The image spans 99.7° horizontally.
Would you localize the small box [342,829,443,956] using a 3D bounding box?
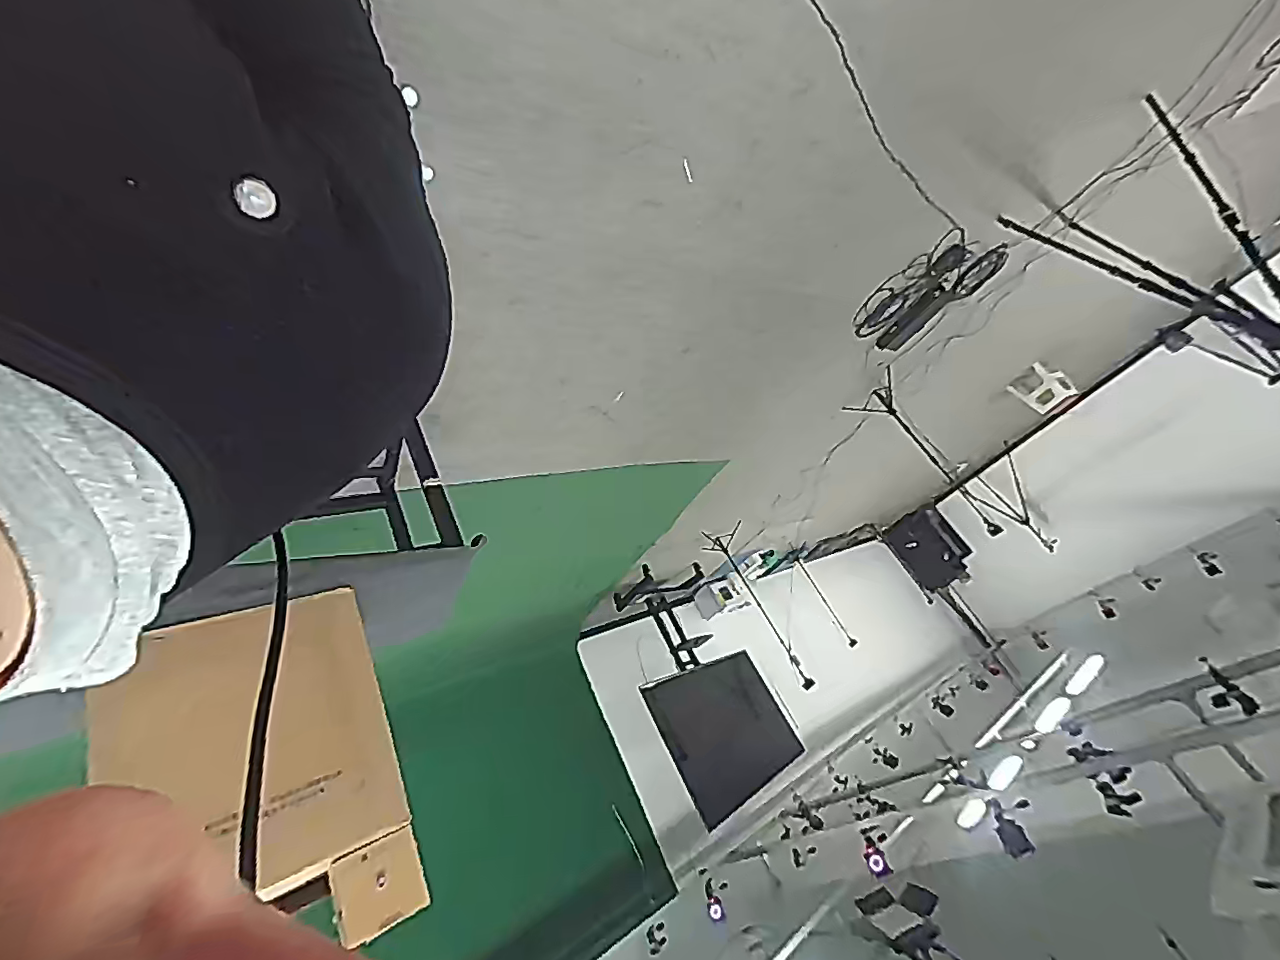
[{"bbox_3d":[-0.573,0.938,1.239,0.168,0.176,0.179,-10,148,-38],"label":"small box"}]
